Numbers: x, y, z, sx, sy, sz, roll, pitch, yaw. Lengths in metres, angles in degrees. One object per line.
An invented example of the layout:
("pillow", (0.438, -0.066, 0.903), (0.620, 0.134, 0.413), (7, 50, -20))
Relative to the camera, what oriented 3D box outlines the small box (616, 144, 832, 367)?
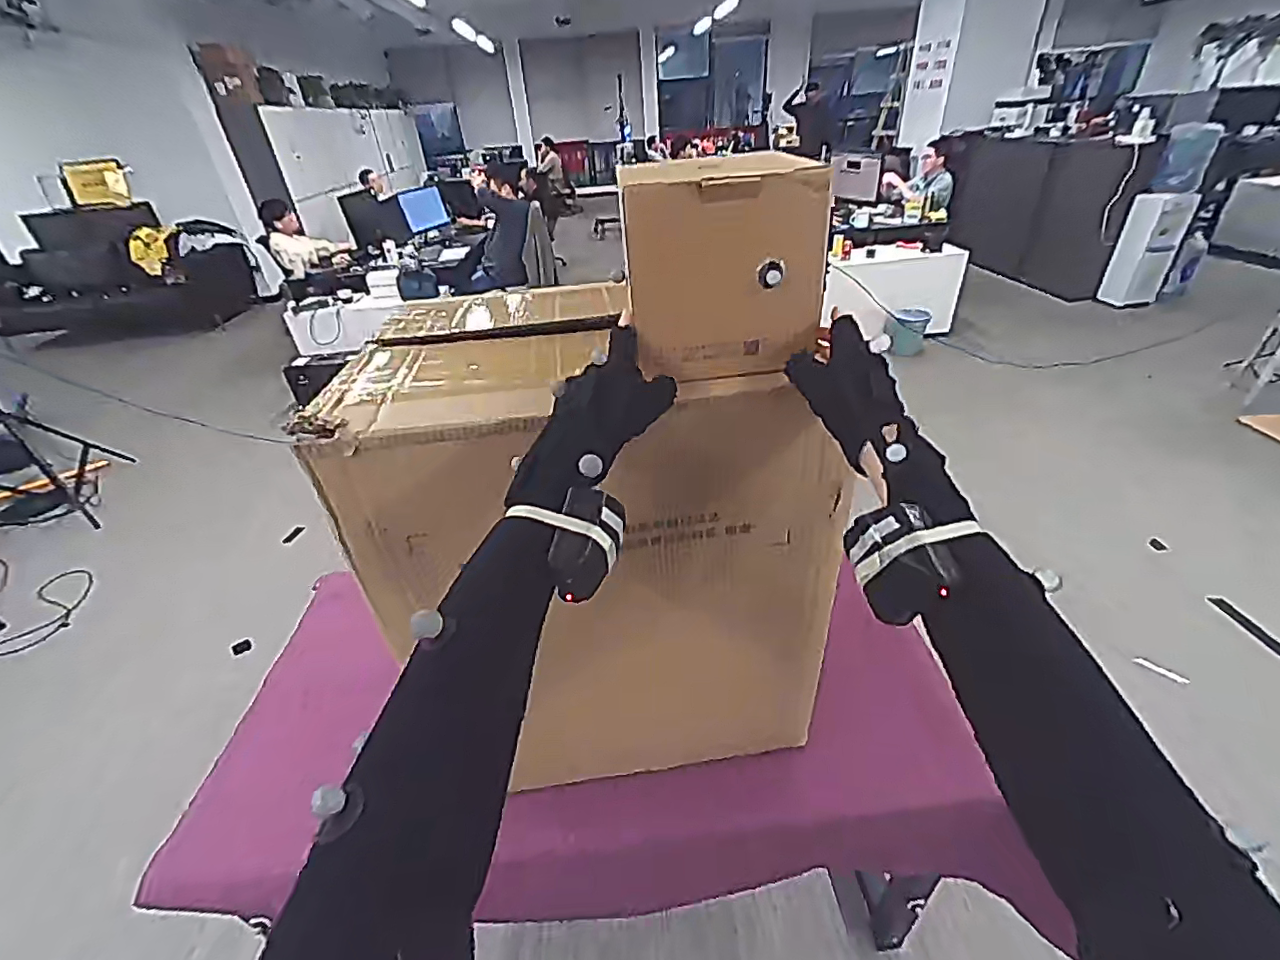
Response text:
("small box", (0.069, -0.215, 0.523), (0.168, 0.176, 0.179), (-6, 33, -1))
